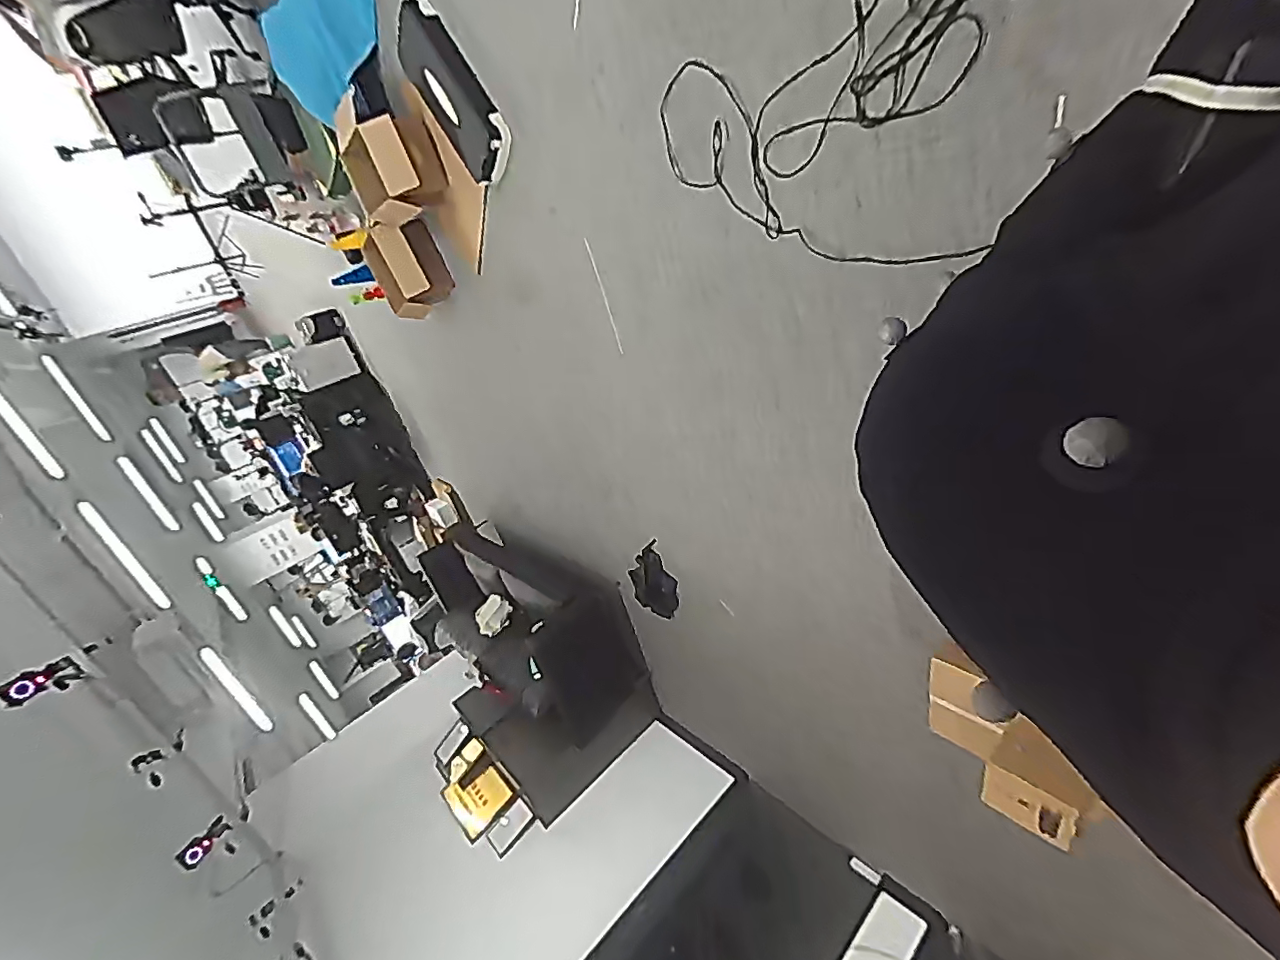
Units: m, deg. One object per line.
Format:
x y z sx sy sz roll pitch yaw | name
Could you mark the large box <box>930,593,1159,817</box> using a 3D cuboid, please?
1.052 0.569 1.439 0.408 0.320 0.320 21 134 47 | large box
